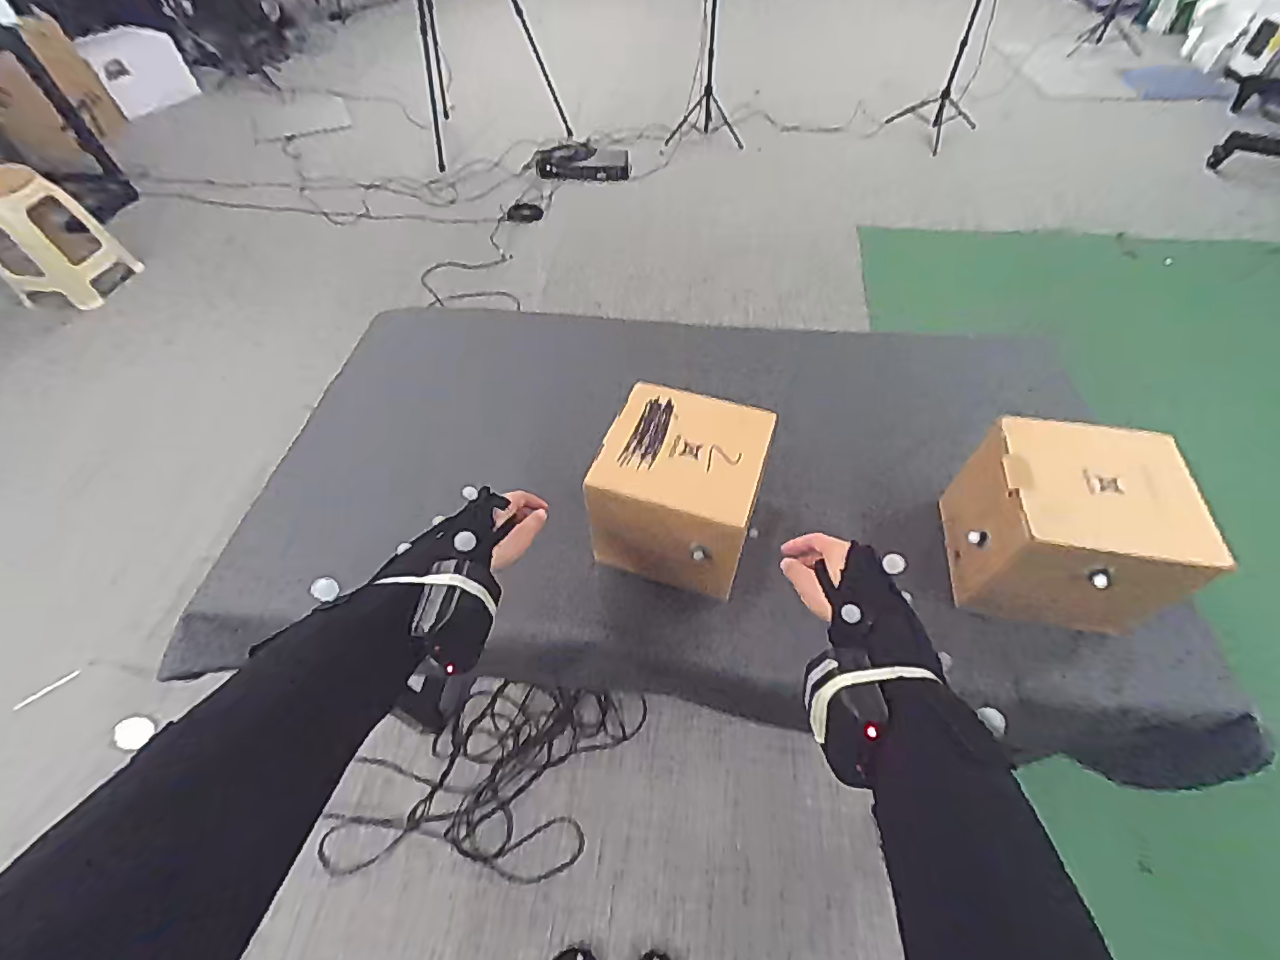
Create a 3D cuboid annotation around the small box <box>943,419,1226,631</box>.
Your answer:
[{"bbox_3d":[0.468,0.055,0.613,0.179,0.176,0.168,9,55,8],"label":"small box"}]
